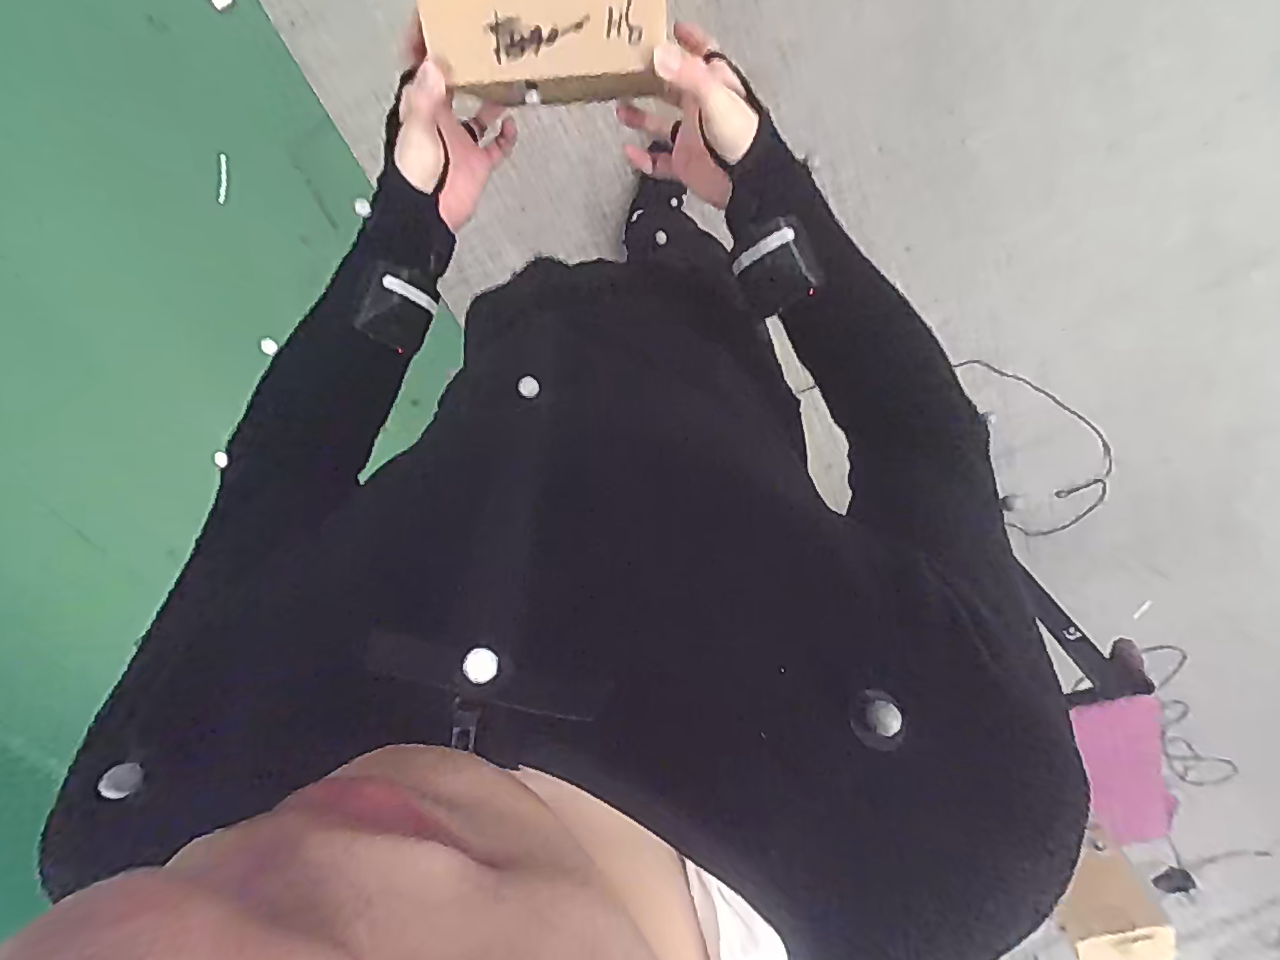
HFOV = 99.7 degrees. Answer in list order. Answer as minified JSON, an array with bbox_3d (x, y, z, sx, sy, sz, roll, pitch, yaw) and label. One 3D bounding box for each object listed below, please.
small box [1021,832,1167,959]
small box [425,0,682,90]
[{"bbox_3d":[0.912,0.846,1.100,0.168,0.176,0.179,-23,118,14],"label":"small box"},{"bbox_3d":[-0.055,-0.396,0.381,0.168,0.176,0.179,-1,120,3],"label":"small box"}]
